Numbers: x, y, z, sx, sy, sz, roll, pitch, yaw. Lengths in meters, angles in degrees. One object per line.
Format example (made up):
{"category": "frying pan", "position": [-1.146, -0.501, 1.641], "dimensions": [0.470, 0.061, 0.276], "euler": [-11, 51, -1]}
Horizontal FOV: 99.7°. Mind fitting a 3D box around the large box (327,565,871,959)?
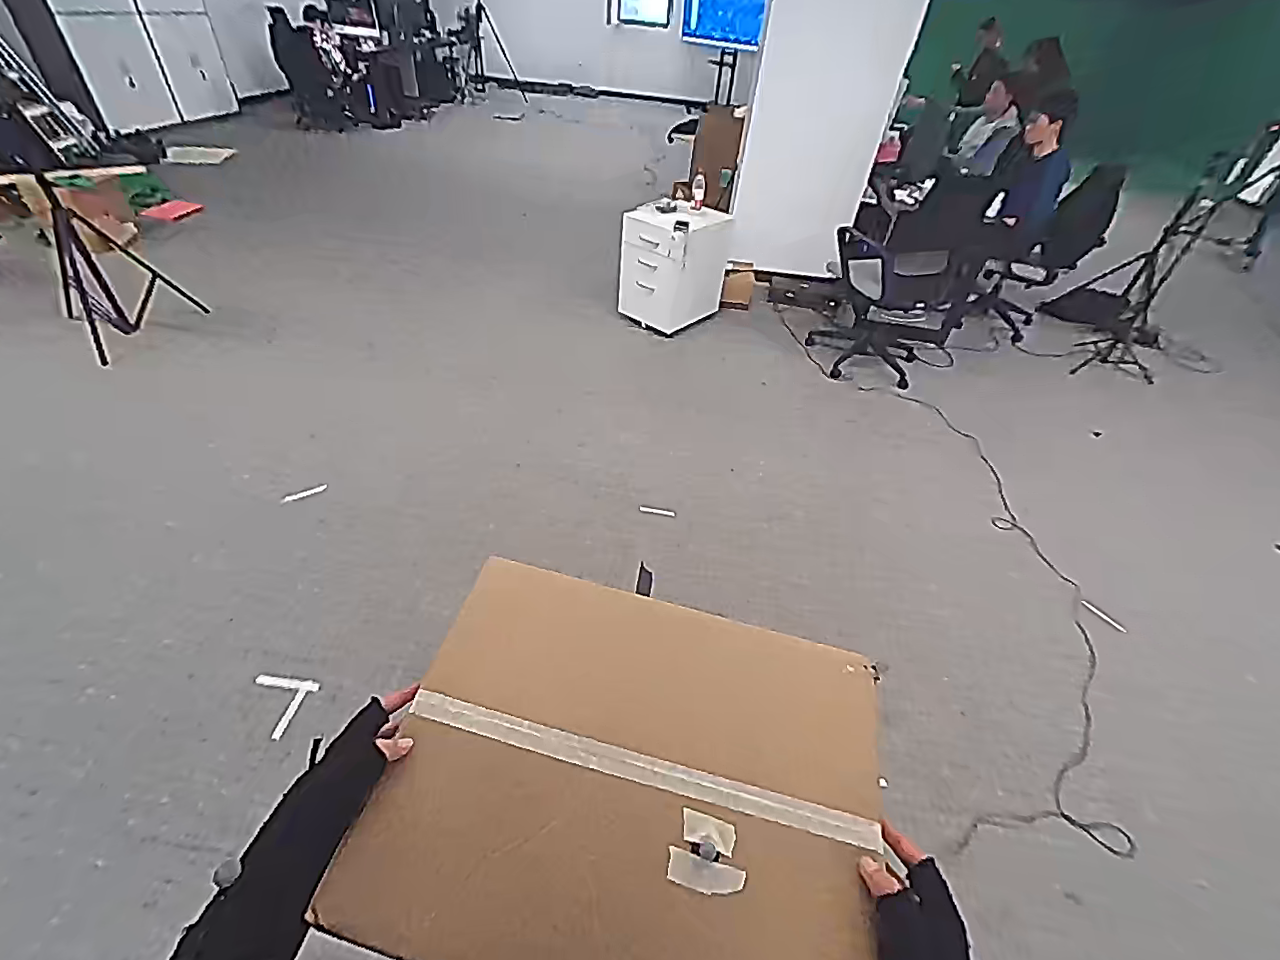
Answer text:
{"category": "large box", "position": [-0.017, 0.340, 0.580], "dimensions": [0.408, 0.320, 0.320], "euler": [14, 50, 5]}
